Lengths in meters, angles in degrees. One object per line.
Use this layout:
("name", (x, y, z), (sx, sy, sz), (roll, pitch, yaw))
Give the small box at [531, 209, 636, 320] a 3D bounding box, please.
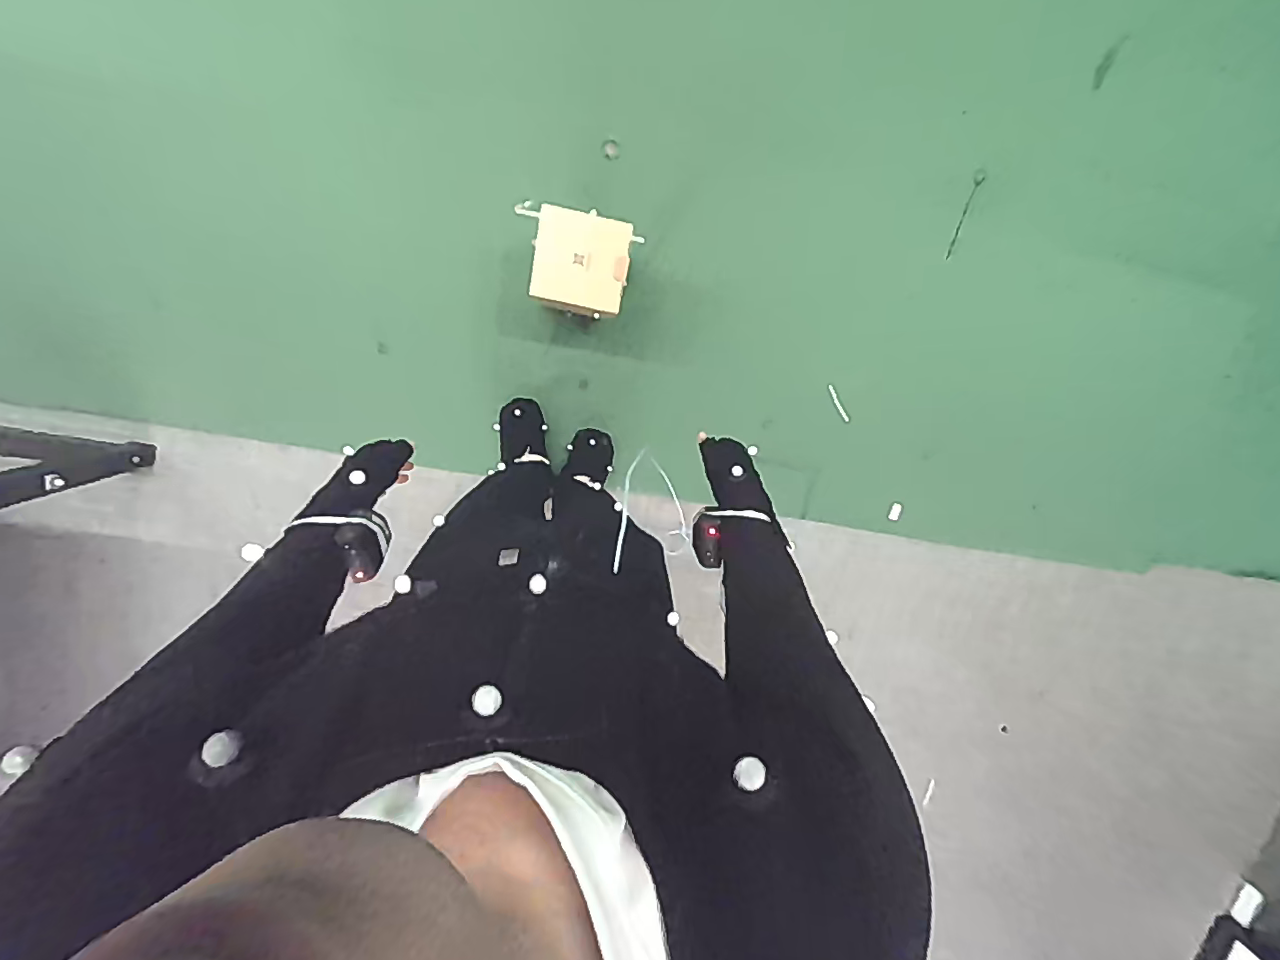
("small box", (-0.115, -0.426, 1.099), (0.179, 0.176, 0.168), (9, 103, -9))
